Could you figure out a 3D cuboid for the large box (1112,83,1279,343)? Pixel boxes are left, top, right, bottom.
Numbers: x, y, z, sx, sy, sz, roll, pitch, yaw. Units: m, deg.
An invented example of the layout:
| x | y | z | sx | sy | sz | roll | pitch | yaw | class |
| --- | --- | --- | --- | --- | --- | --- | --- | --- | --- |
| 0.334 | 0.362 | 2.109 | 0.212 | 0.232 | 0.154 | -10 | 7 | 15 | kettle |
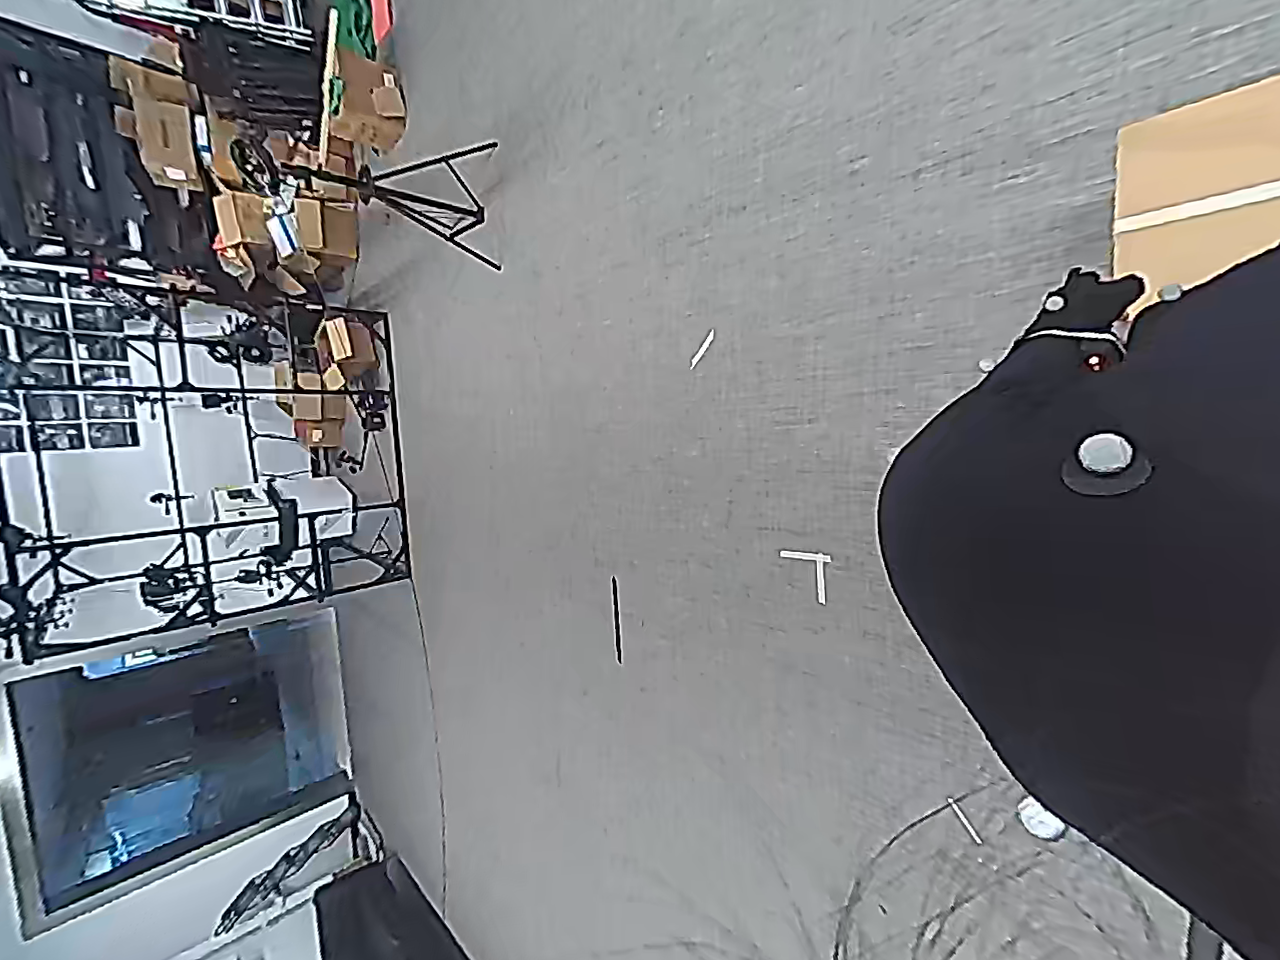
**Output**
| x | y | z | sx | sy | sz | roll | pitch | yaw | class |
| --- | --- | --- | --- | --- | --- | --- | --- | --- | --- |
| 1.030 | -0.418 | 0.857 | 0.408 | 0.320 | 0.320 | 2 | 97 | 47 | large box |
